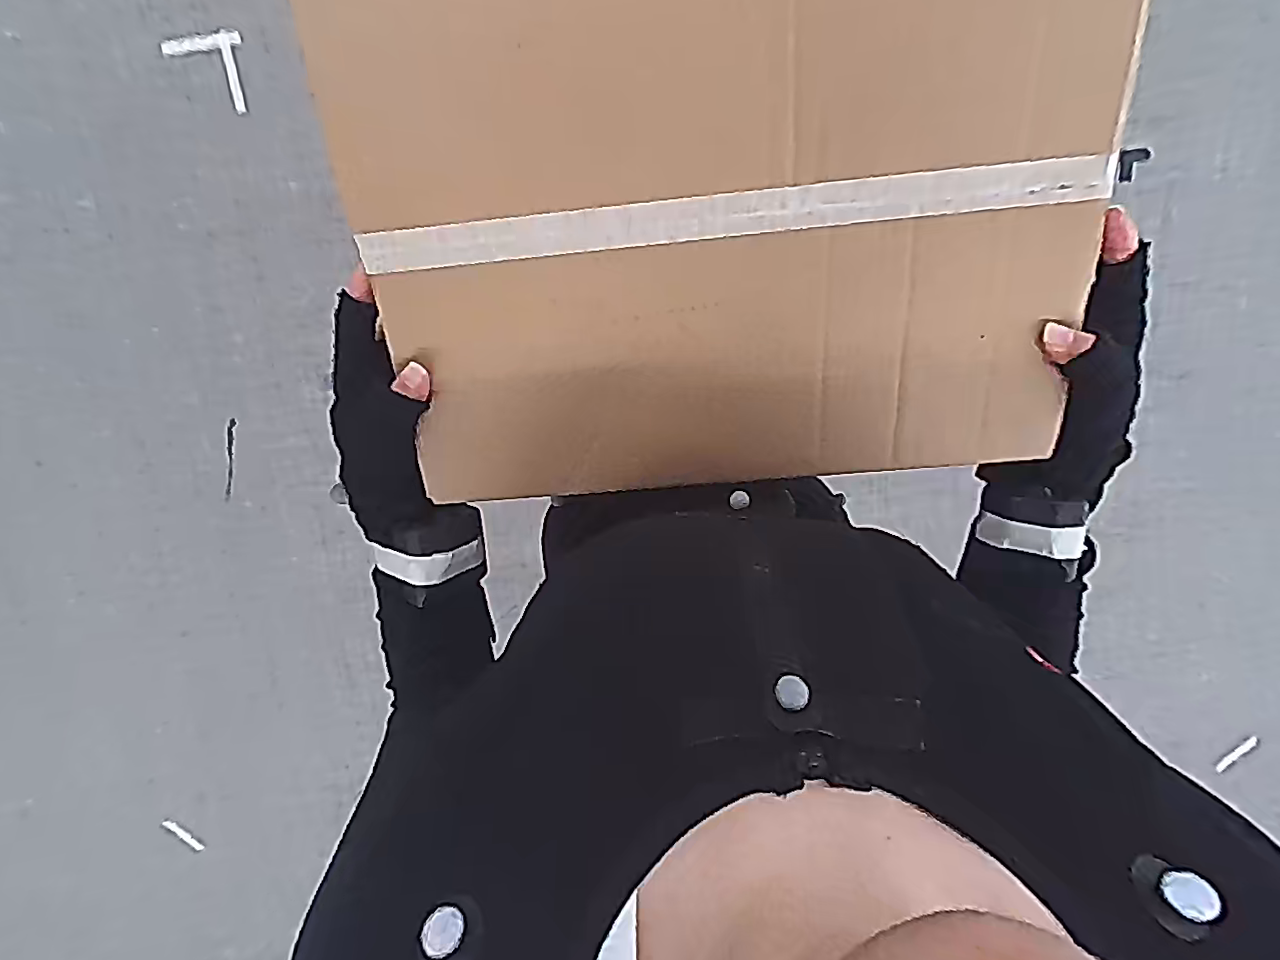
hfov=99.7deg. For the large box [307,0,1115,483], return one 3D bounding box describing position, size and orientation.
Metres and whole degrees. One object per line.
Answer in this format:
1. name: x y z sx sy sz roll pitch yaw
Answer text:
1. large box: 0.042 -0.211 0.440 0.408 0.320 0.320 -4 114 3
